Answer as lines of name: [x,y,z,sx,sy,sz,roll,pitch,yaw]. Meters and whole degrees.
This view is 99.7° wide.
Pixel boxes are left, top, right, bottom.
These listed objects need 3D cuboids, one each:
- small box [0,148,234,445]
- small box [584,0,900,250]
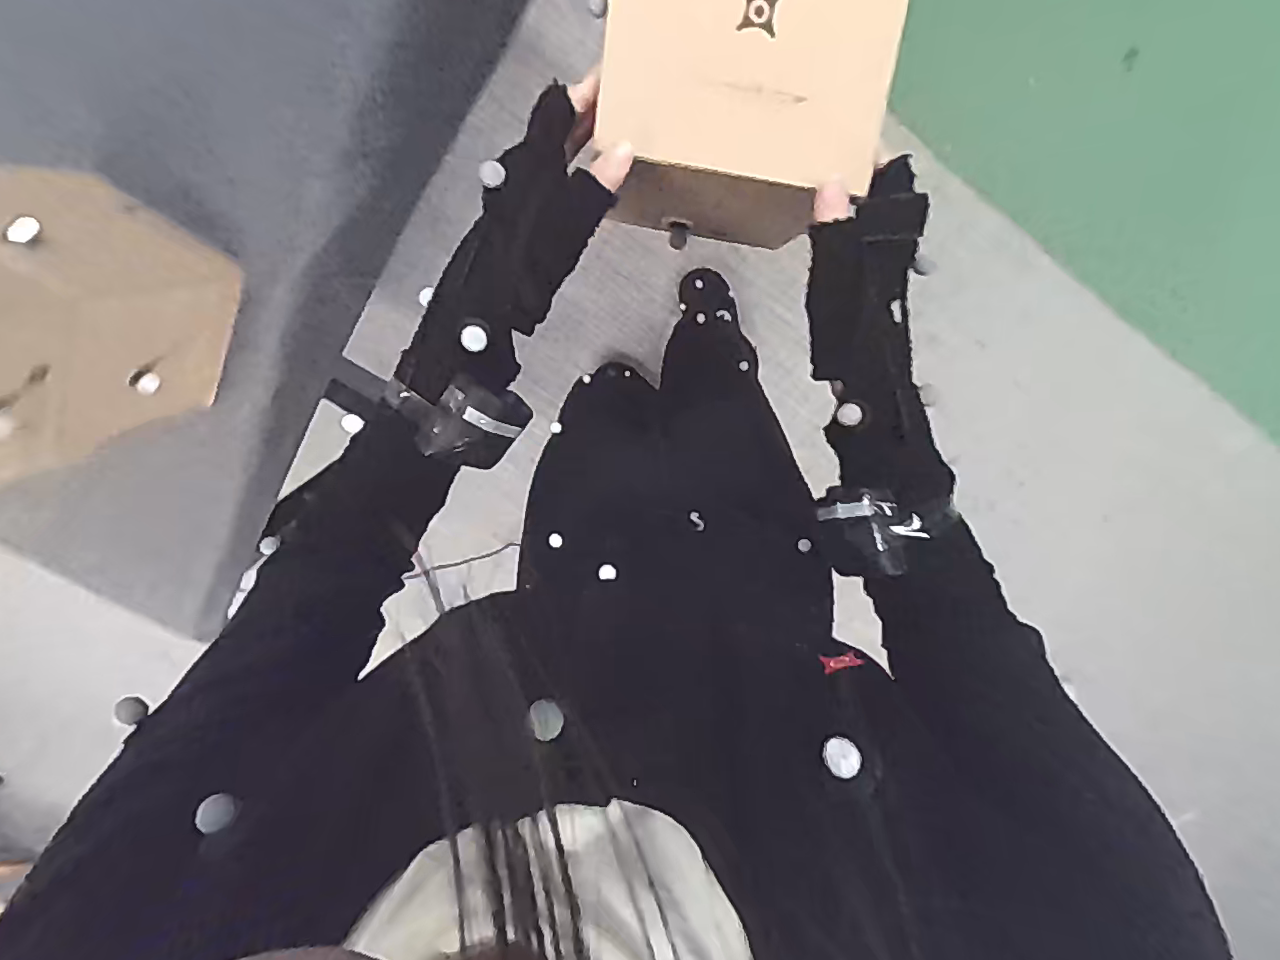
small box: [-0.520,-0.169,0.491,0.168,0.176,0.179,34,116,-9]
small box: [0.053,-0.274,0.369,0.168,0.176,0.179,6,104,-5]
